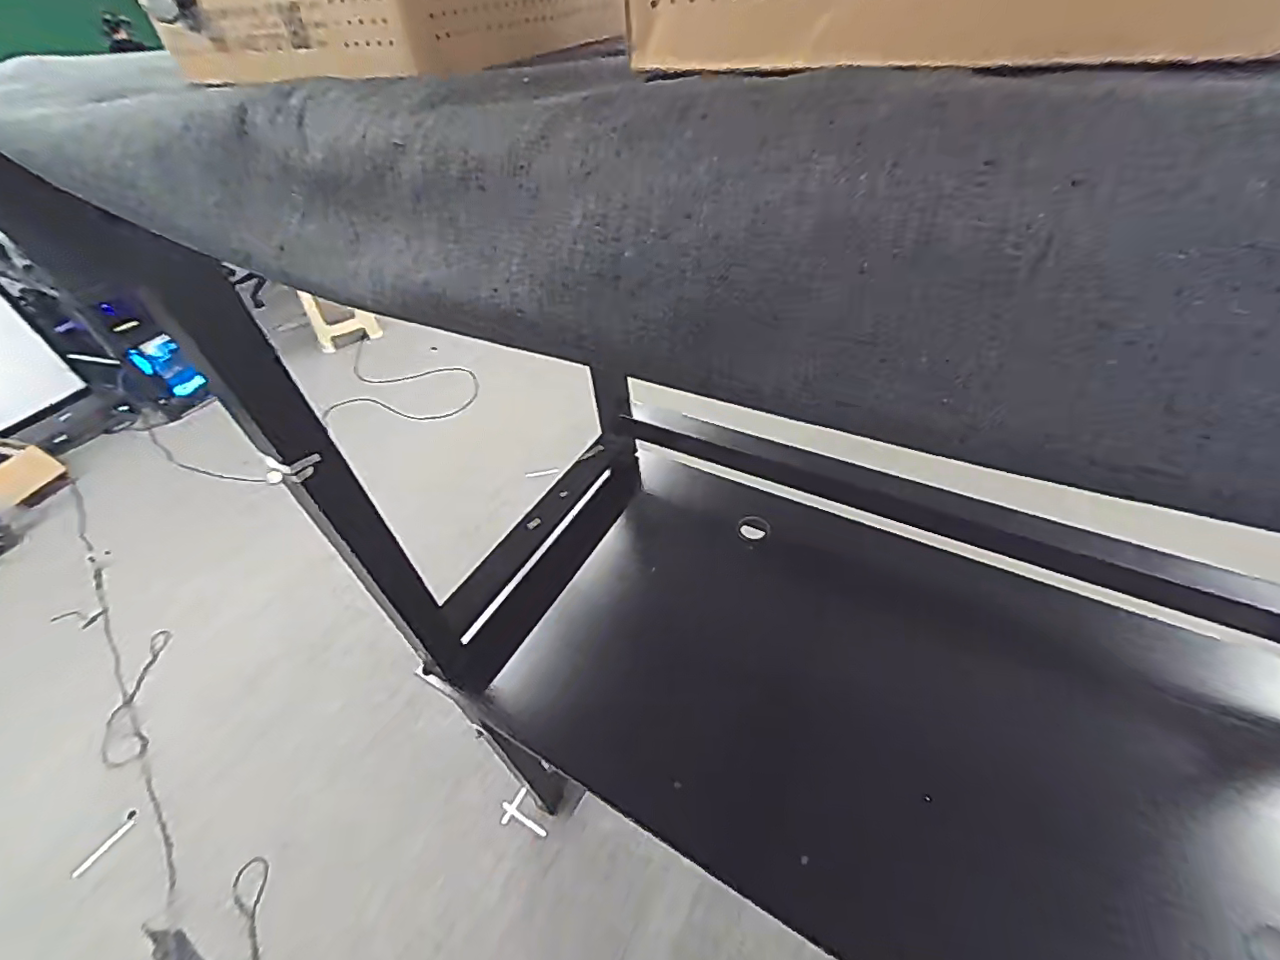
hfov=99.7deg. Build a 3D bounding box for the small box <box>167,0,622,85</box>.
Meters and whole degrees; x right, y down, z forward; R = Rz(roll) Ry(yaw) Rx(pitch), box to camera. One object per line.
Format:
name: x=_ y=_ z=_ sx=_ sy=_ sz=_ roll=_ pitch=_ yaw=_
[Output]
small box: x=-0.118 y=-0.285 z=0.235 sx=0.168 sy=0.176 sz=0.179 roll=18 pitch=47 yaw=22
